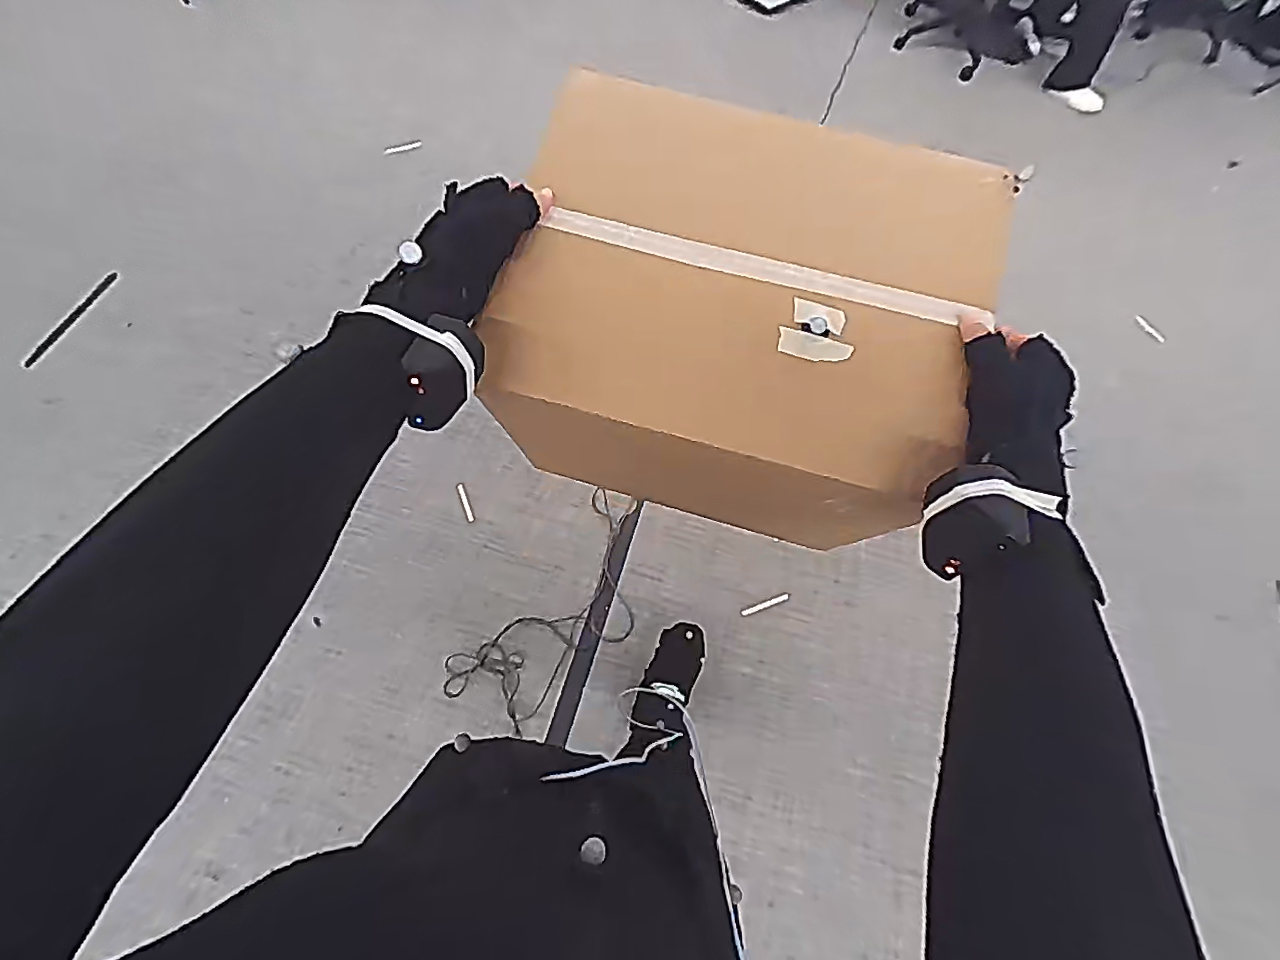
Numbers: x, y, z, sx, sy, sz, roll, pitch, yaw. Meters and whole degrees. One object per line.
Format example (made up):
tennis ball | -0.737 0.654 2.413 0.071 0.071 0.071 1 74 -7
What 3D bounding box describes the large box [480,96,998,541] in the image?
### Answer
large box | 0.093 -0.141 0.614 0.408 0.320 0.320 16 79 4
